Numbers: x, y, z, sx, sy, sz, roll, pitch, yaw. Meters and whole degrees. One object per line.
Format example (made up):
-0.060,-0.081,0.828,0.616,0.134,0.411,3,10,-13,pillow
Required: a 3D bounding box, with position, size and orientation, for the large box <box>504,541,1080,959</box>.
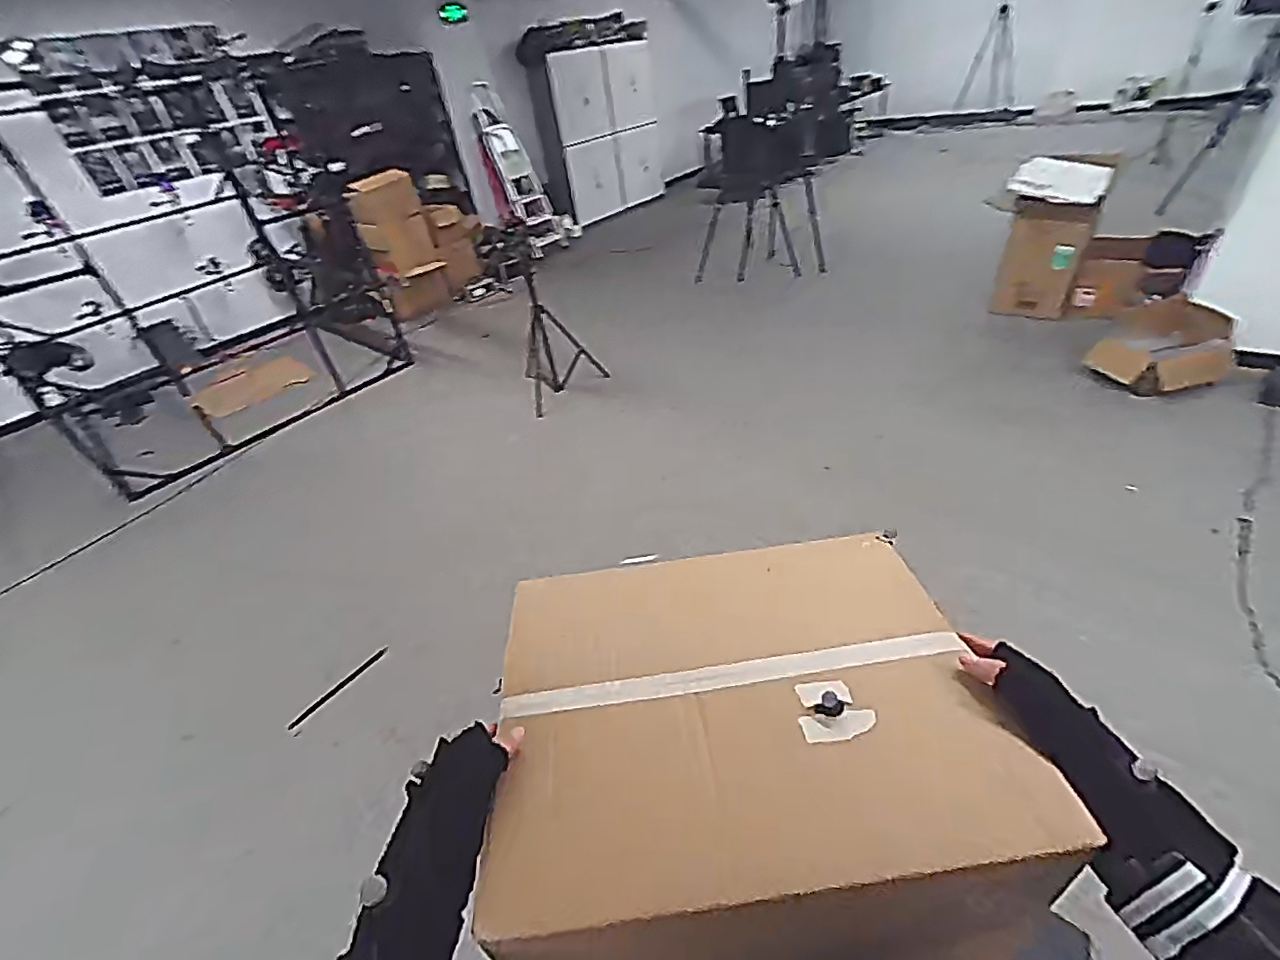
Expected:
0.103,0.300,0.564,0.408,0.320,0.320,-7,34,-1,large box
